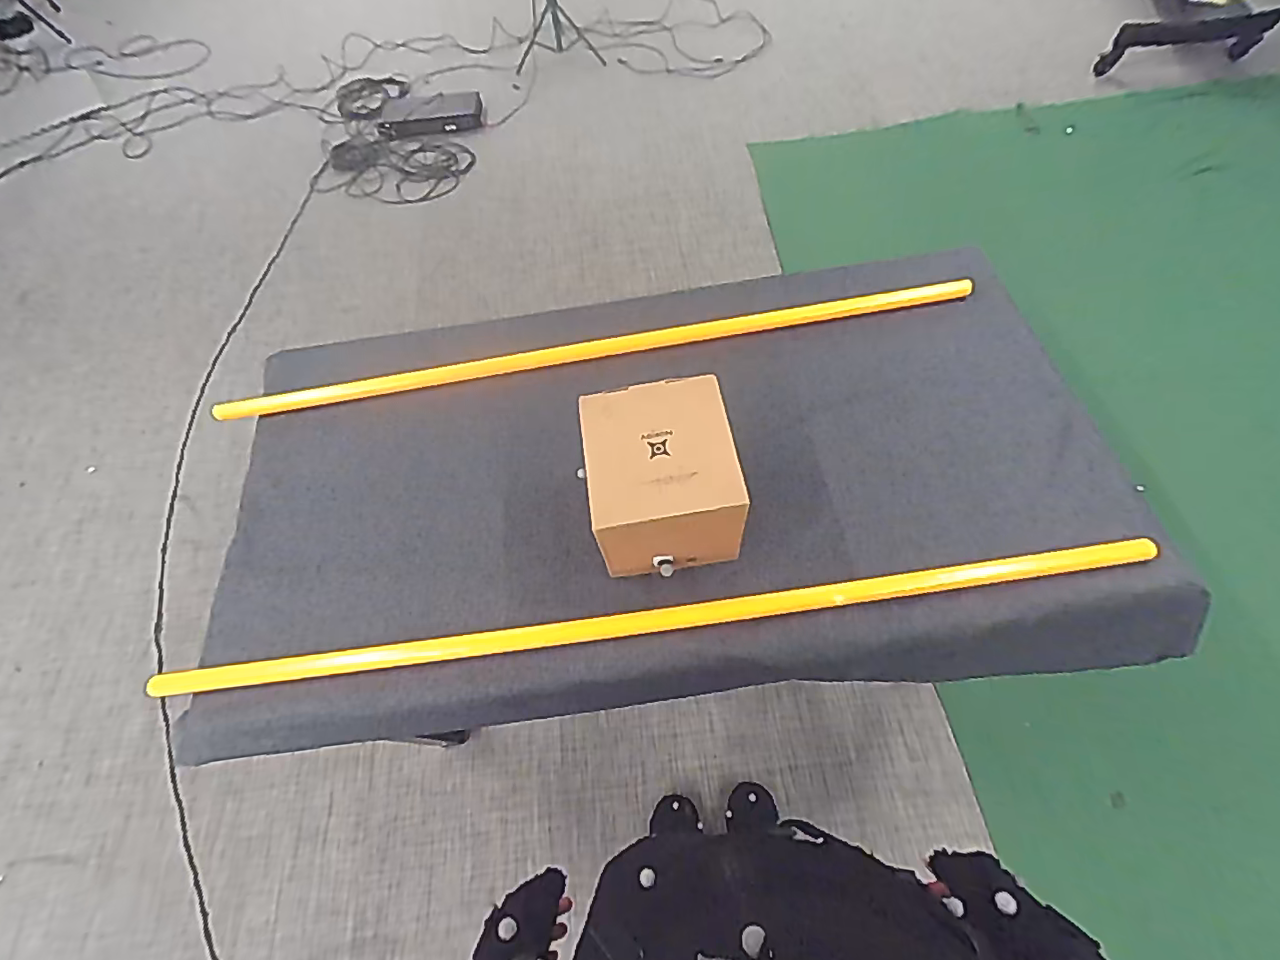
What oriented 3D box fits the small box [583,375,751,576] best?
[{"bbox_3d":[0.030,0.001,0.670,0.168,0.176,0.179,-10,62,1],"label":"small box"}]
